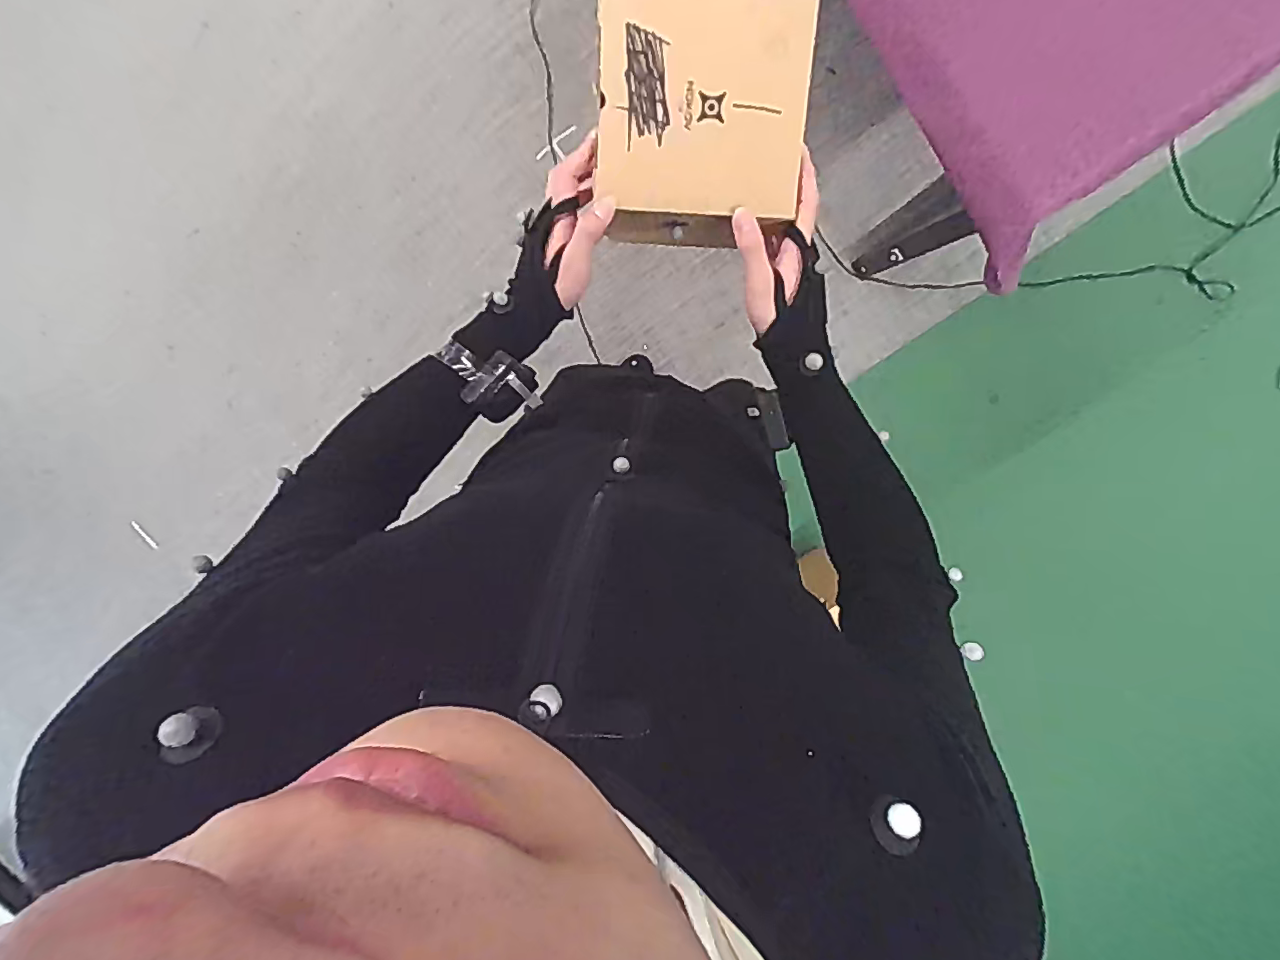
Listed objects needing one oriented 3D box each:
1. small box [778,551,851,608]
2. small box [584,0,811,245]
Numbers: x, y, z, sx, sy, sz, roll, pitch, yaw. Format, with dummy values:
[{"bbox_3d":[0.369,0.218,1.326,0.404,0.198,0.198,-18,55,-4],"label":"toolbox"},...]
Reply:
[{"bbox_3d":[0.527,0.340,1.605,0.179,0.176,0.168,-35,99,8],"label":"small box"},{"bbox_3d":[0.046,-0.330,0.518,0.179,0.176,0.168,3,104,0],"label":"small box"}]
